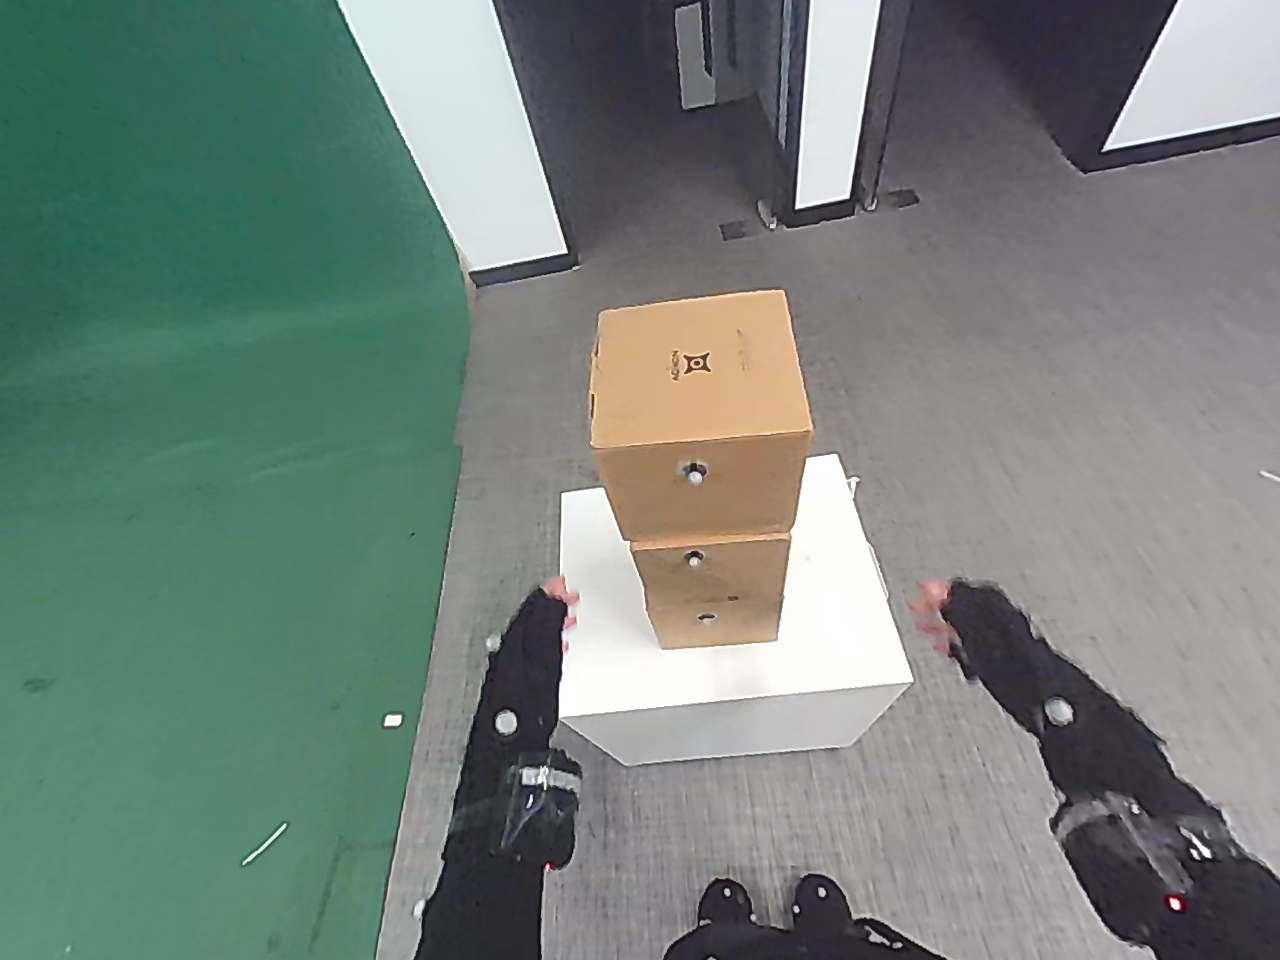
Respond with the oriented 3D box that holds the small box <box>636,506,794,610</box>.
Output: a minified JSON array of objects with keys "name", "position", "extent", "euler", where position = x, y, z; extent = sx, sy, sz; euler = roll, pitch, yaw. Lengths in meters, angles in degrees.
[{"name":"small box","position":[0.083,0.043,0.669],"extent":[0.168,0.176,0.179],"euler":[-7,55,5]}]

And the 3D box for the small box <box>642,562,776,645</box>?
[{"name":"small box","position":[0.102,0.137,0.799],"extent":[0.179,0.176,0.168],"euler":[-6,55,7]}]

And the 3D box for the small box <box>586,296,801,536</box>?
[{"name":"small box","position":[0.055,-0.053,0.538],"extent":[0.179,0.176,0.168],"euler":[-4,57,7]}]
